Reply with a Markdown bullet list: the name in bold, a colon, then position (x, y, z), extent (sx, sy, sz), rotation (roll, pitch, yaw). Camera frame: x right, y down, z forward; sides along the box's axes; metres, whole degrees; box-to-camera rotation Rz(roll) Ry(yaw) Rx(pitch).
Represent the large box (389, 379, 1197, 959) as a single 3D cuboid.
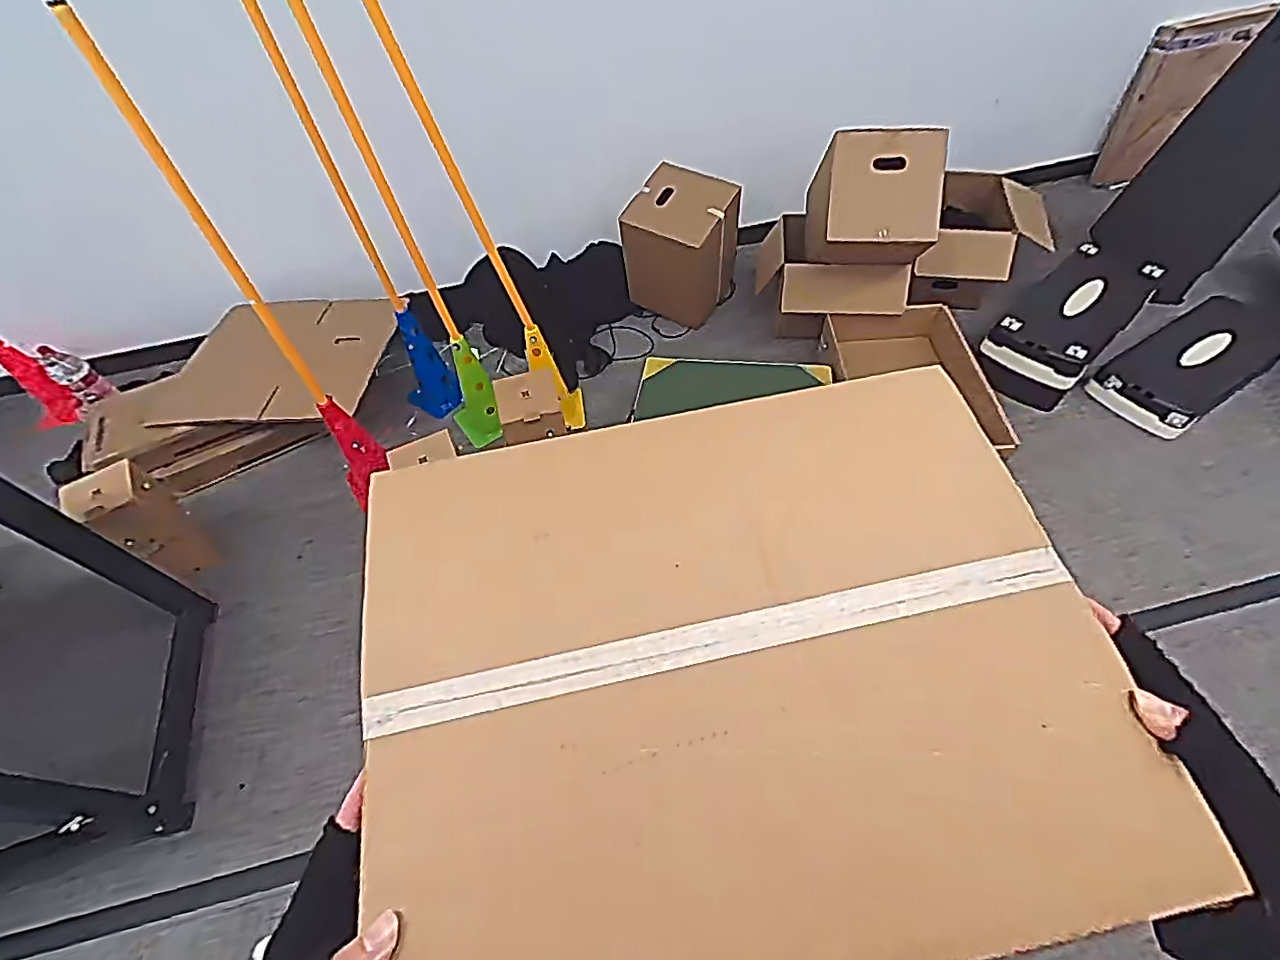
- **large box**: position (0.056, 0.166, 0.452), extent (0.408, 0.320, 0.320), rotation (-11, 63, -3)
